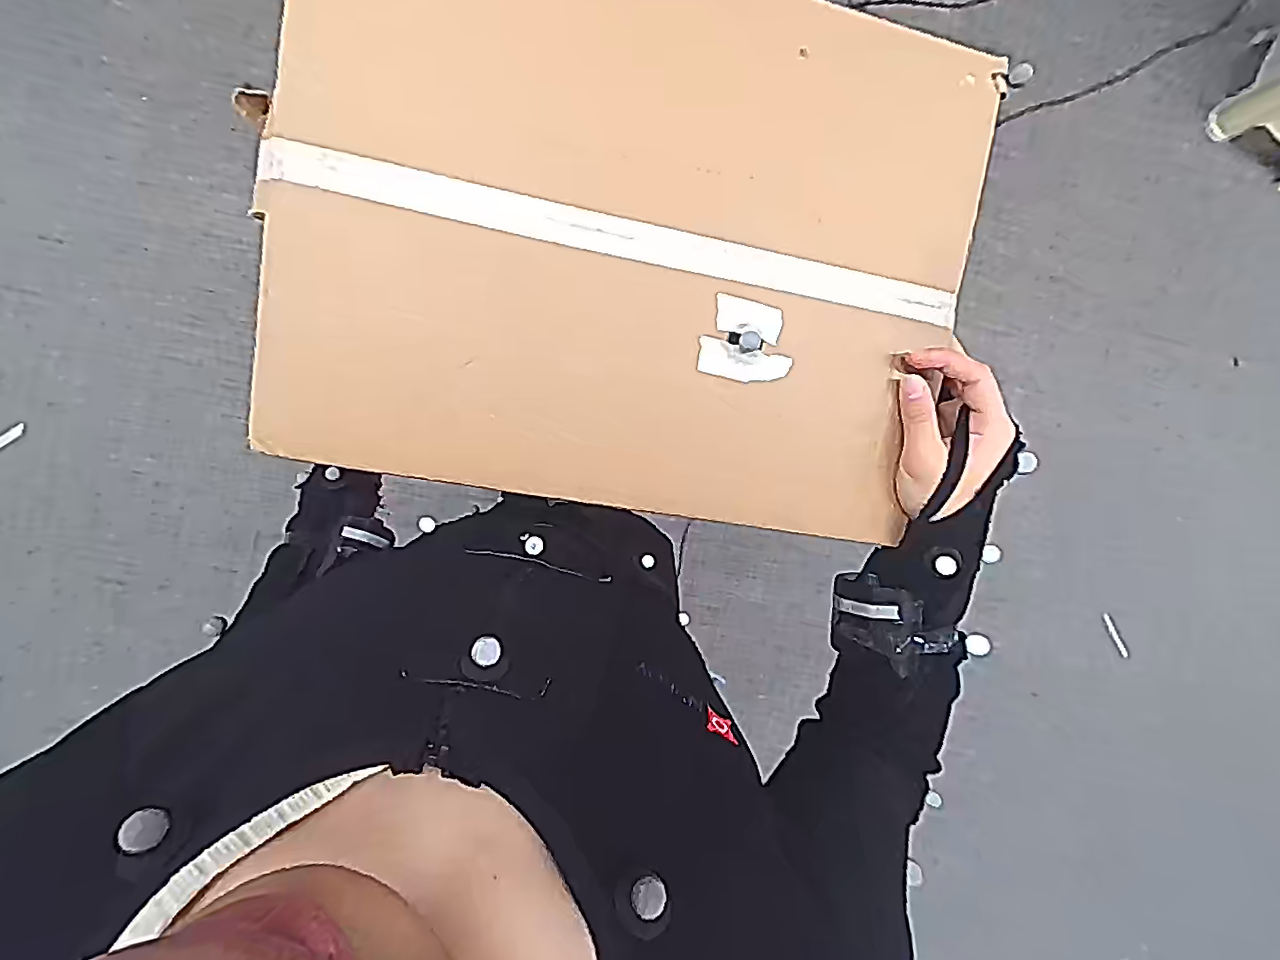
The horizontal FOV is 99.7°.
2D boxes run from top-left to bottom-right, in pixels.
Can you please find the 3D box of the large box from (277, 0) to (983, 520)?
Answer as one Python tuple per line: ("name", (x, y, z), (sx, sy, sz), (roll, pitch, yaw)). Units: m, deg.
("large box", (-0.019, -0.163, 0.471), (0.408, 0.320, 0.320), (8, 97, -11))
